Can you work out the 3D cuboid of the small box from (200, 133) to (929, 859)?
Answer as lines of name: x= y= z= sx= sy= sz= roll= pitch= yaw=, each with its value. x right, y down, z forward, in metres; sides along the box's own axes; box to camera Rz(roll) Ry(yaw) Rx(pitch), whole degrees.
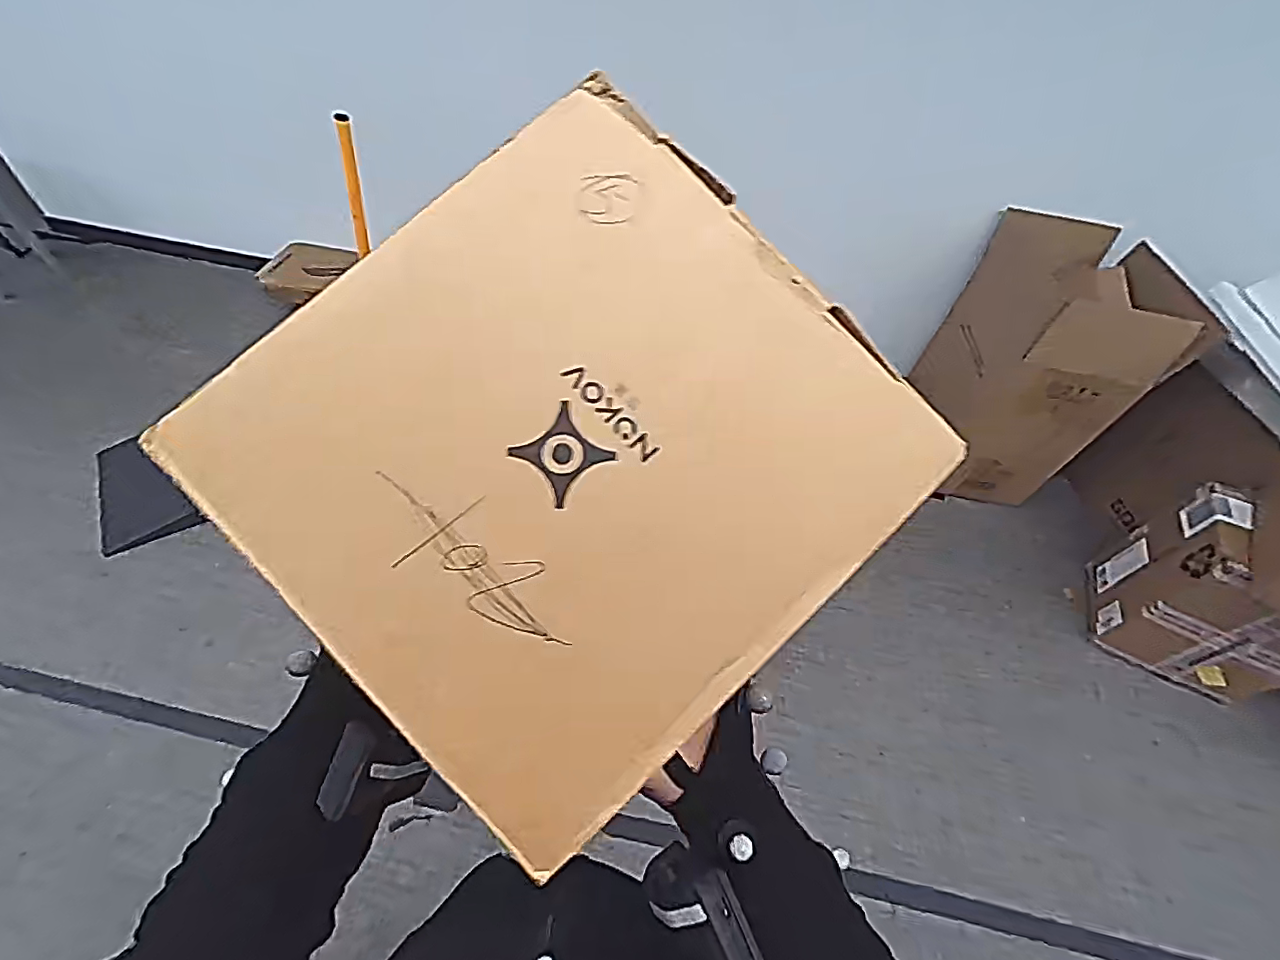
small box: x=-0.024 y=0.005 z=0.251 sx=0.179 sy=0.176 sz=0.168 roll=-43 pitch=86 yaw=-5
